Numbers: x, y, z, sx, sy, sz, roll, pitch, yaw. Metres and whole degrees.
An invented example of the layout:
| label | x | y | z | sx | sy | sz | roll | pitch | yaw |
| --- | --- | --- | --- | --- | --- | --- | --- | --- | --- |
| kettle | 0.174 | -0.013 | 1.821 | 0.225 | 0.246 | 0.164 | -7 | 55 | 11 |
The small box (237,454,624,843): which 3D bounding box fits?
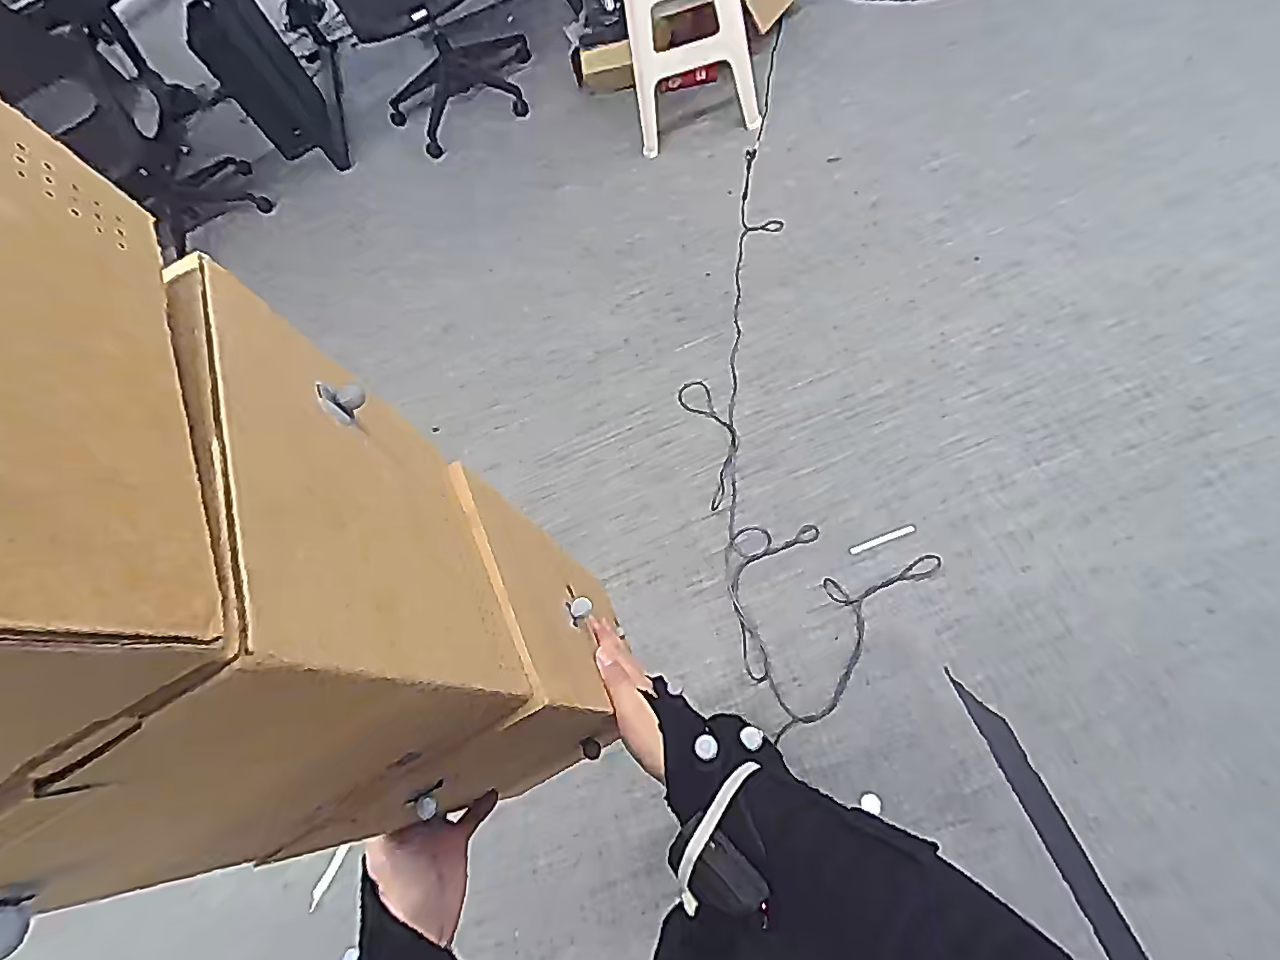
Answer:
| label | x | y | z | sx | sy | sz | roll | pitch | yaw |
| --- | --- | --- | --- | --- | --- | --- | --- | --- | --- |
| small box | -0.134 | 0.118 | 0.383 | 0.179 | 0.176 | 0.168 | -29 | 62 | -1 |
